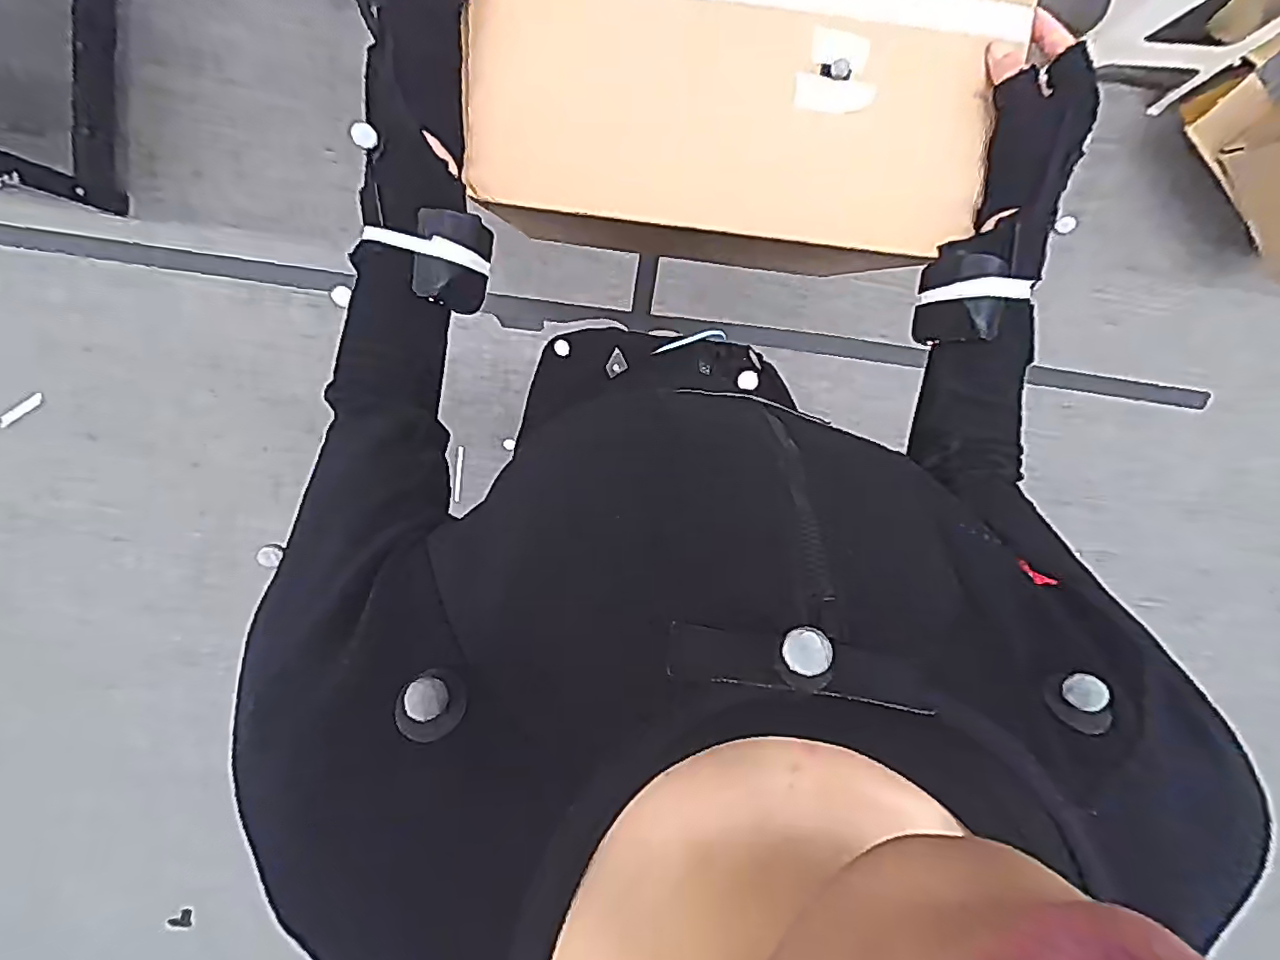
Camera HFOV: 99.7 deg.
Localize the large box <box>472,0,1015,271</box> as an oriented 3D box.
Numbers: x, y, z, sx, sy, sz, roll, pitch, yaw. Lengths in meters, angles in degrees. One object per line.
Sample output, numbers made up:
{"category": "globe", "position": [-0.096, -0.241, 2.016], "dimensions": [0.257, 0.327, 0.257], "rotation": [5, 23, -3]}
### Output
{"category": "large box", "position": [0.070, -0.398, 0.537], "dimensions": [0.408, 0.320, 0.320], "rotation": [5, 109, -5]}
